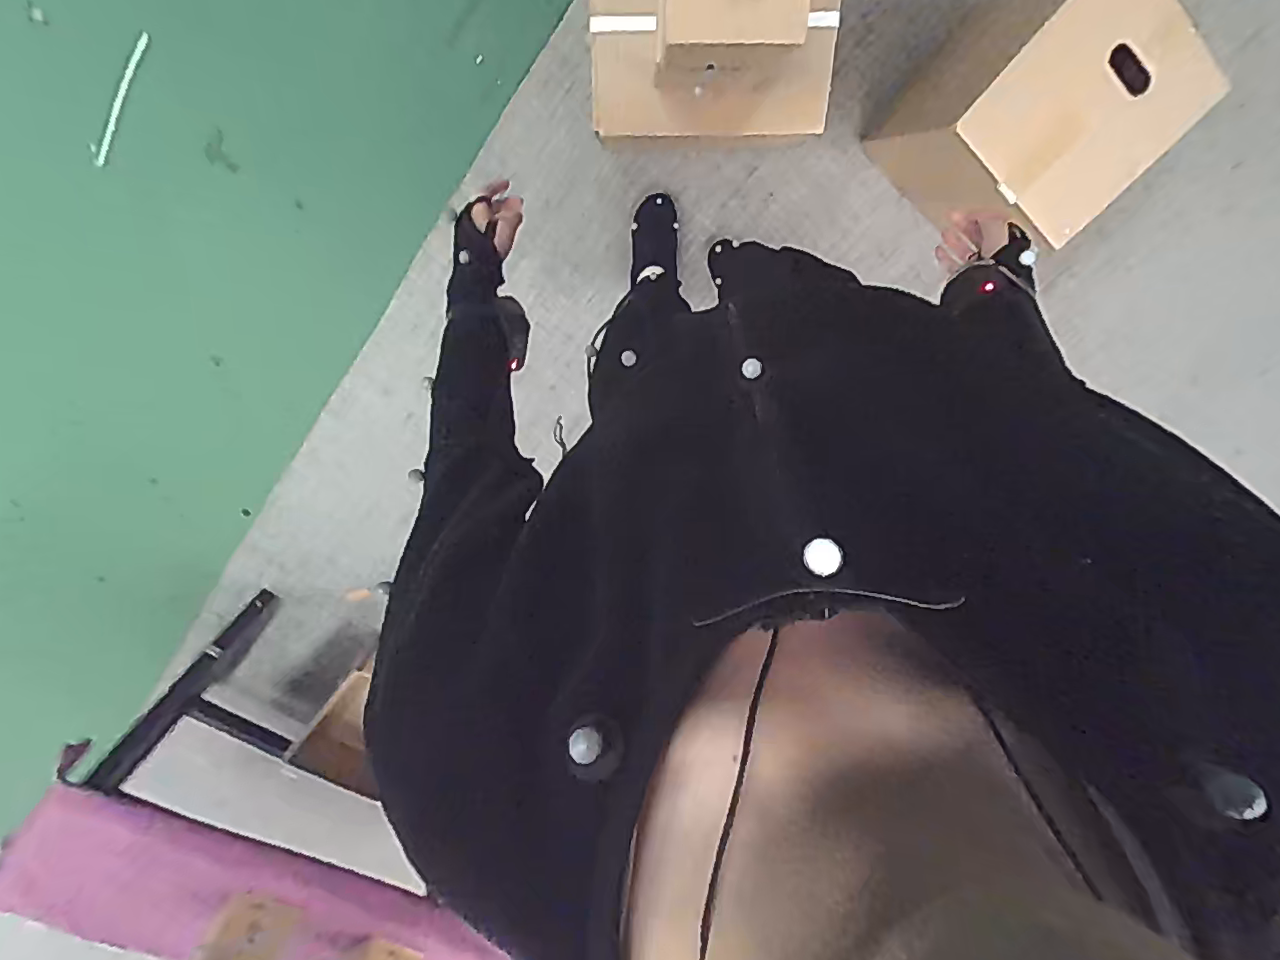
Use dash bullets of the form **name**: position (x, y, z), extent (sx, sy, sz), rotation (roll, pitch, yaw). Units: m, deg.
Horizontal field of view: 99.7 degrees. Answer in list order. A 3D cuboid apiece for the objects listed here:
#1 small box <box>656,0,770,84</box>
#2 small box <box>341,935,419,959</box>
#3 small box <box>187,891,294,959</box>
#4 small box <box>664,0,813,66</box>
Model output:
- **small box**: position (0.113, -0.710, 0.795), extent (0.168, 0.176, 0.179), rotation (4, 118, -1)
- **small box**: position (-0.714, 1.347, 1.418), extent (0.168, 0.176, 0.179), rotation (40, 111, -18)
- **small box**: position (-0.978, 1.137, 1.306), extent (0.168, 0.176, 0.179), rotation (35, 113, -16)
- **small box**: position (0.116, -0.630, 0.654), extent (0.168, 0.176, 0.179), rotation (1, 117, 0)
